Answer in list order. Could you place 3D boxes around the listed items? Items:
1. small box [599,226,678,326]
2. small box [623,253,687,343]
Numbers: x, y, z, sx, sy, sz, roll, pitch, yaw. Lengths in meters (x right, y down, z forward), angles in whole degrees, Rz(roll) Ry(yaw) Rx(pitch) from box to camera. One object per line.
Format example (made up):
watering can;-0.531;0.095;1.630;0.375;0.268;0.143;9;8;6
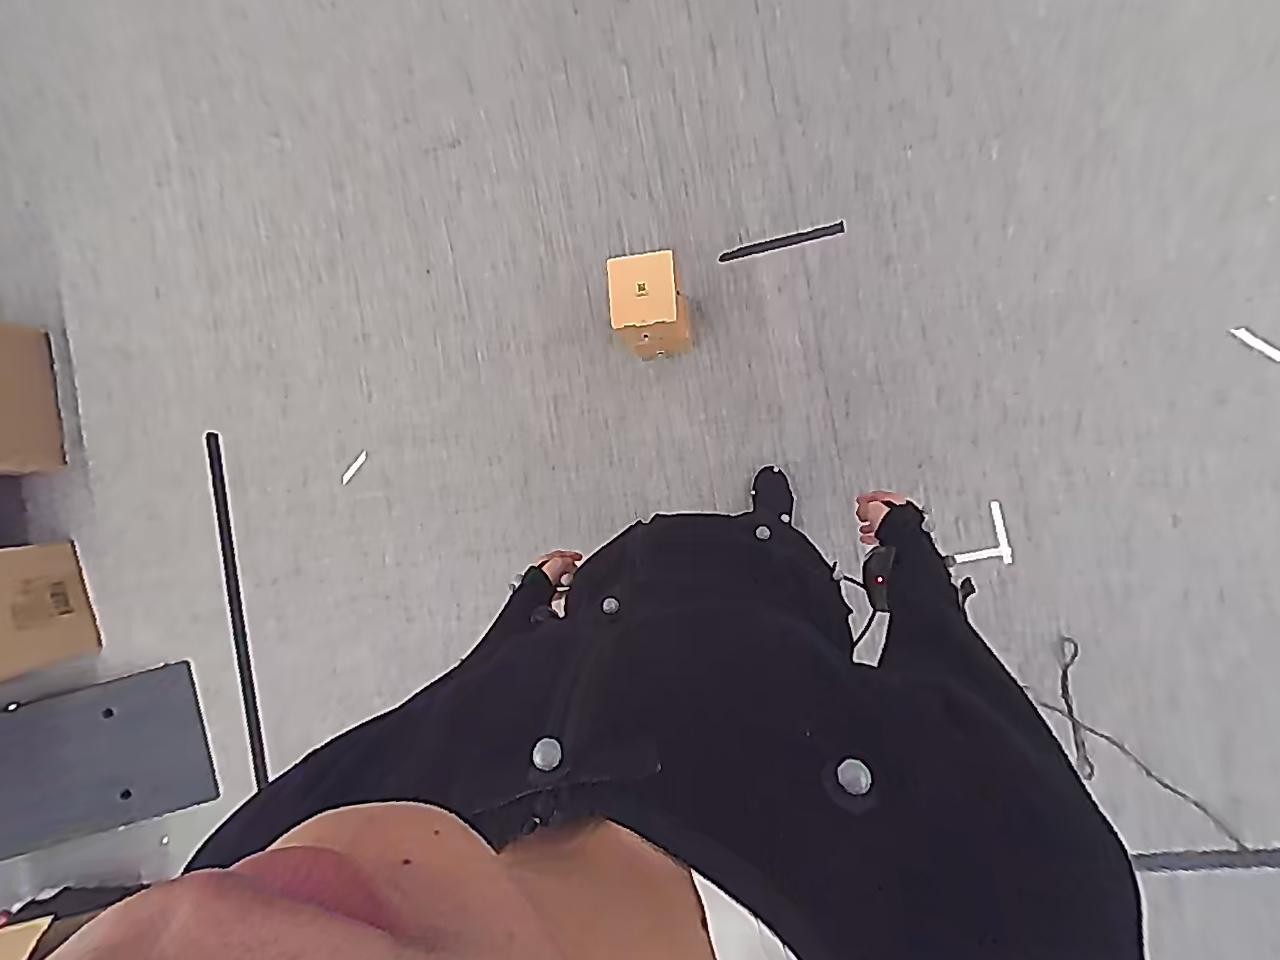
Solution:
small box;0.000;-0.495;1.333;0.168;0.176;0.179;-4;91;10
small box;0.036;-0.495;1.491;0.168;0.176;0.179;-7;90;10
